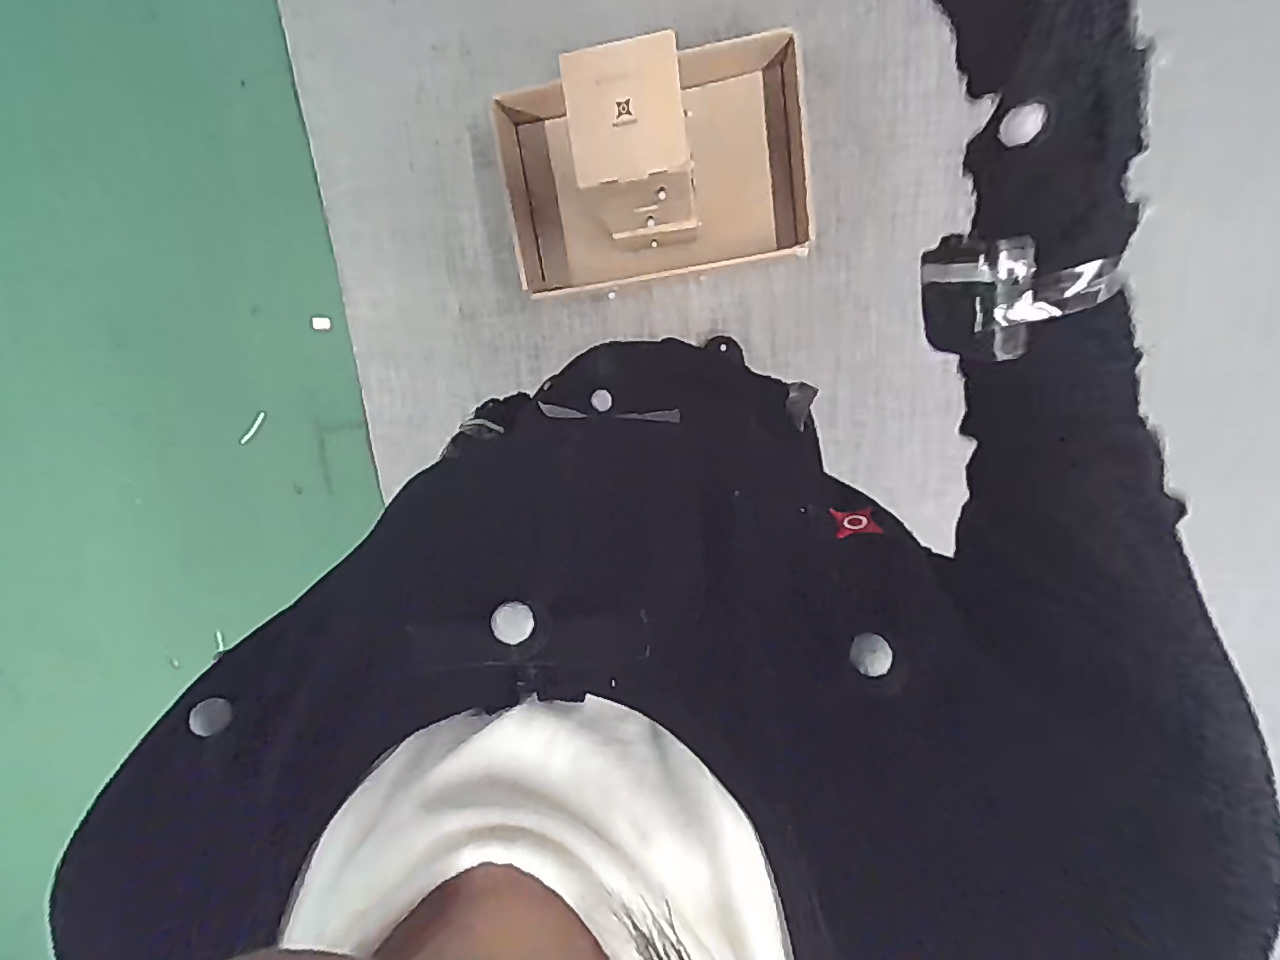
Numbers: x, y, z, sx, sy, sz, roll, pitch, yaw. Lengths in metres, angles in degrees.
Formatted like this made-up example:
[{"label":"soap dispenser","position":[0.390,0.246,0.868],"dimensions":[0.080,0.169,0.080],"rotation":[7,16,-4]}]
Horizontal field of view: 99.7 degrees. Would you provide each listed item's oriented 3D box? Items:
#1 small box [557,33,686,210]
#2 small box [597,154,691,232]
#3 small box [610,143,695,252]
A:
[{"label":"small box","position":[-0.018,-0.540,0.847],"dimensions":[0.168,0.176,0.179],"rotation":[-7,102,7]},{"label":"small box","position":[0.001,-0.584,1.022],"dimensions":[0.168,0.176,0.179],"rotation":[-9,102,9]},{"label":"small box","position":[0.028,-0.607,1.179],"dimensions":[0.179,0.176,0.168],"rotation":[-4,102,8]}]
